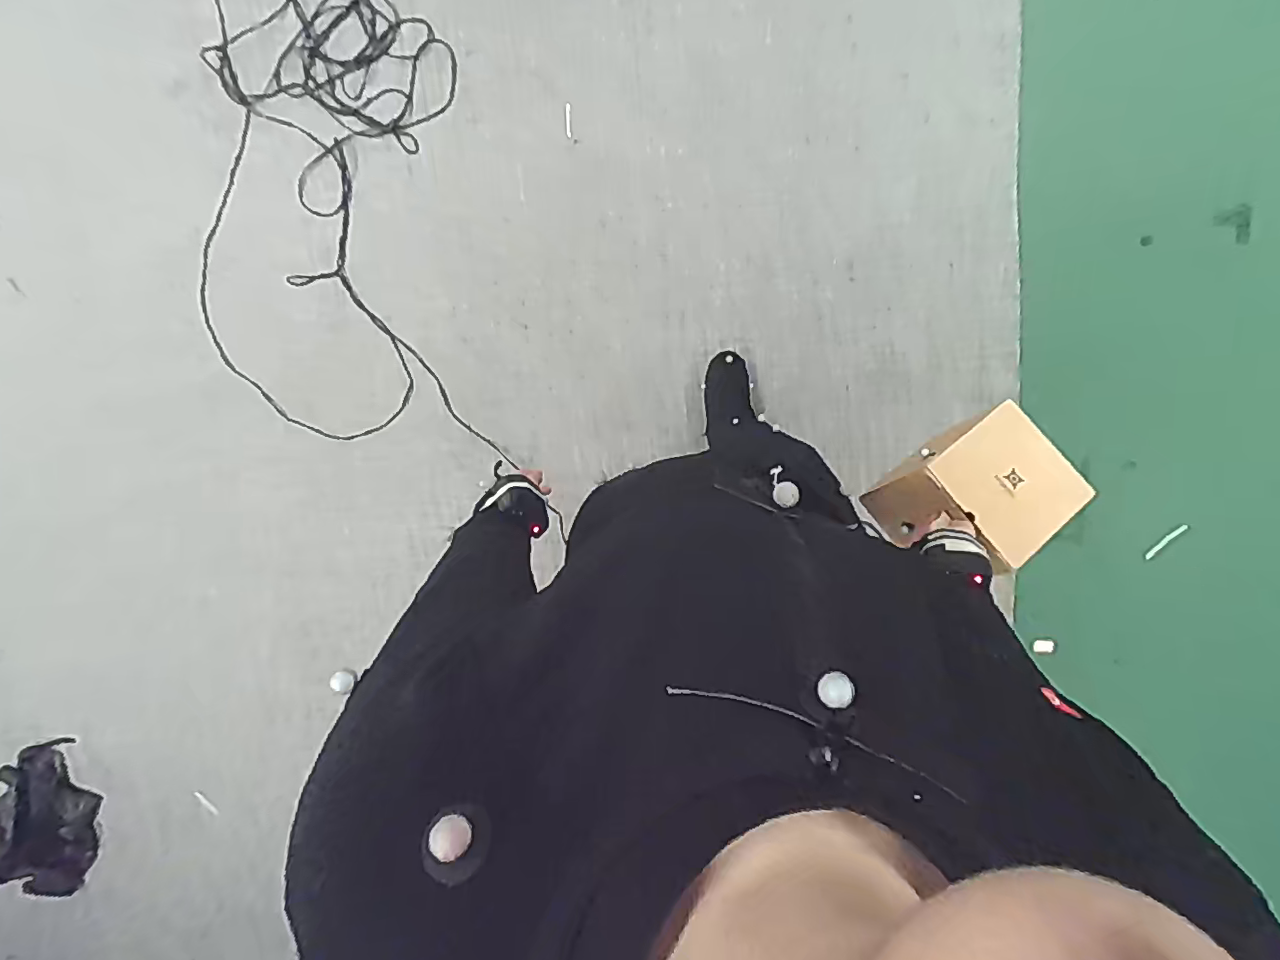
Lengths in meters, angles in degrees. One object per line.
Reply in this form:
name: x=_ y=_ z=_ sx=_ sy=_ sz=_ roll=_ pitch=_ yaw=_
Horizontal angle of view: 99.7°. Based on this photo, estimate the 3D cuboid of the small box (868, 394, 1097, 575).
small box: x=0.465 y=0.015 z=0.761 sx=0.179 sy=0.176 sz=0.168 roll=-36 pitch=82 yaw=-14
